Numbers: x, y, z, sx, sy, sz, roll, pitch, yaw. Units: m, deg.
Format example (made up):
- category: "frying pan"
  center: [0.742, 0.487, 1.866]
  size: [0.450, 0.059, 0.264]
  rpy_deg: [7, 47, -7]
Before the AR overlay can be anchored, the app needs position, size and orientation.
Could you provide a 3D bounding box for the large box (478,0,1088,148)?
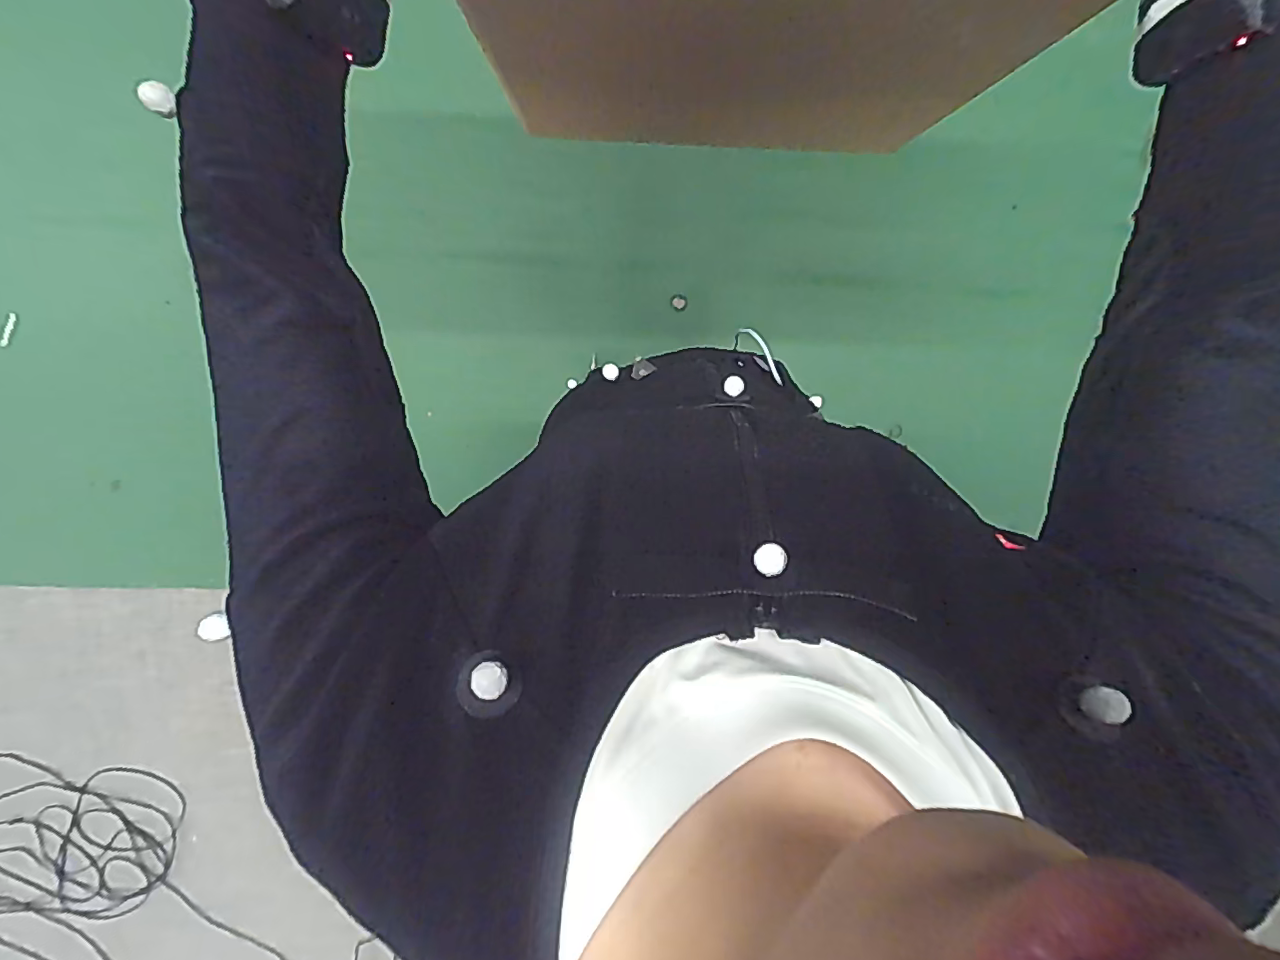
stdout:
- category: "large box"
  center: [0.087, -0.476, 0.411]
  size: [0.408, 0.320, 0.320]
  rpy_deg: [1, 105, -2]
